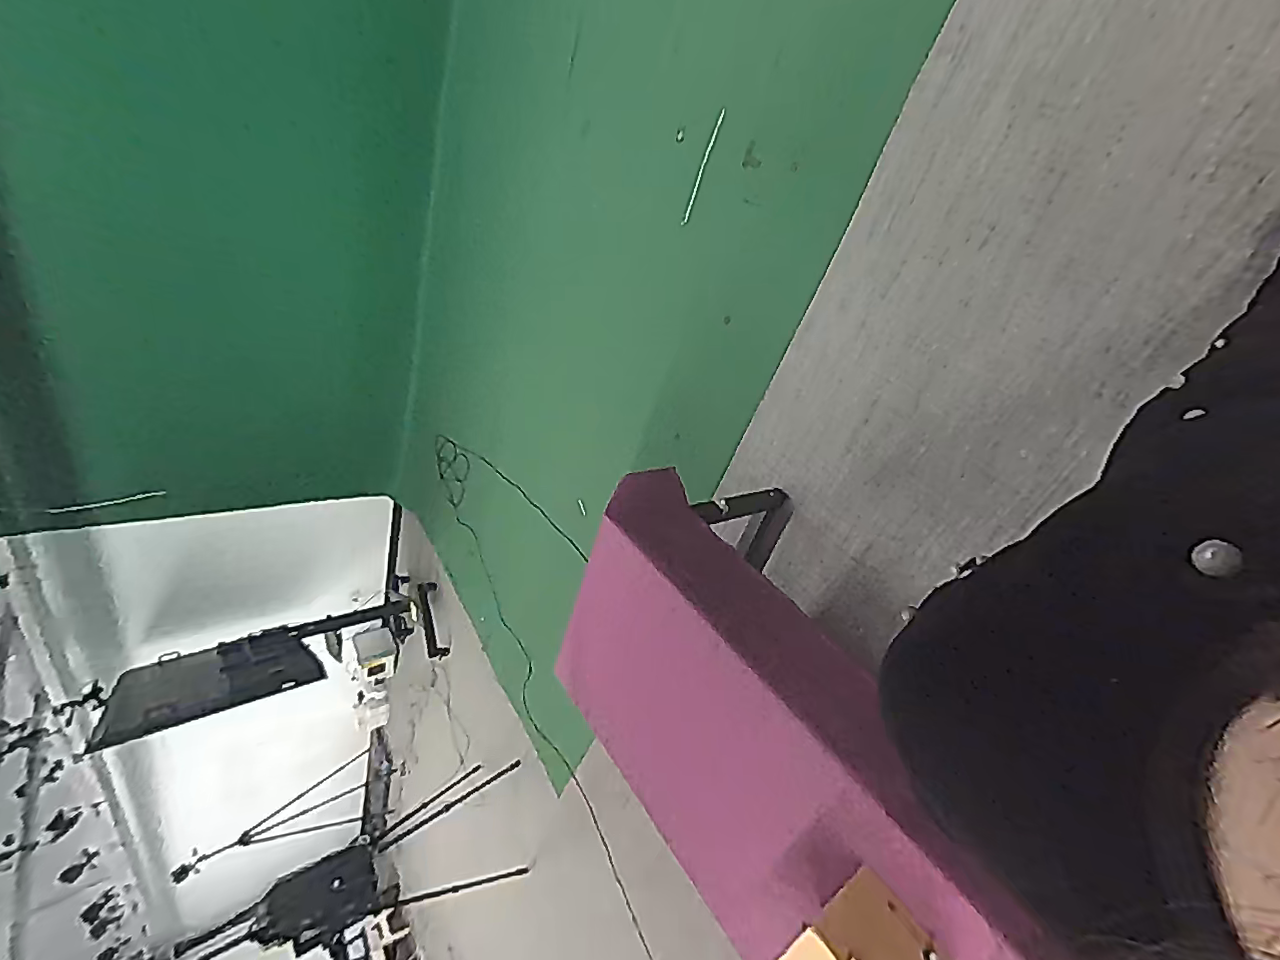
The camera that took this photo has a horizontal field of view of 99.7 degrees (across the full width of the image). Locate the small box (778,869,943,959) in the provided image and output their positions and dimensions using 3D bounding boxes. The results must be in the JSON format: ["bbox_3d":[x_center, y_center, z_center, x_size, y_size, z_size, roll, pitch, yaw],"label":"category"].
[{"bbox_3d":[0.344,0.763,0.846,0.168,0.176,0.179,42,128,38],"label":"small box"}]
